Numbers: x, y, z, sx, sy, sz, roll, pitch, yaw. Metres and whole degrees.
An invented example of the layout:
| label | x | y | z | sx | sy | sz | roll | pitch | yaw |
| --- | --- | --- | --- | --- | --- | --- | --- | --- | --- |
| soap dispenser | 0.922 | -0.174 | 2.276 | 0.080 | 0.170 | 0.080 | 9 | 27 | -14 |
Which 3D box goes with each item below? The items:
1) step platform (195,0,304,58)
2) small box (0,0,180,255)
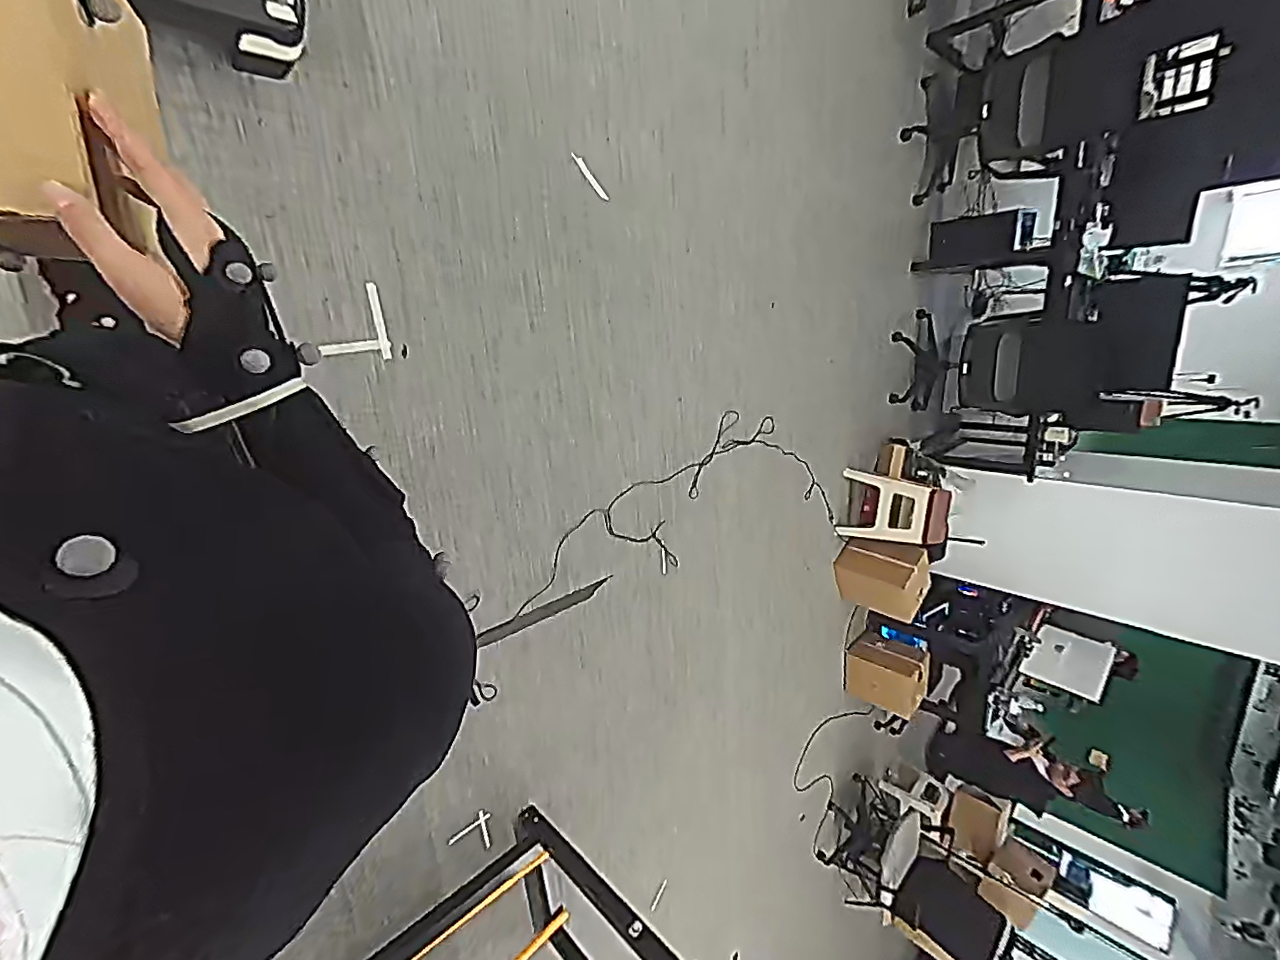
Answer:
| label | x | y | z | sx | sy | sz | roll | pitch | yaw |
| --- | --- | --- | --- | --- | --- | --- | --- | --- | --- |
| step platform | -0.885 | -0.892 | 0.777 | 0.684 | 0.204 | 0.286 | -18 | 110 | -40 |
| small box | -0.410 | -0.247 | 0.321 | 0.168 | 0.176 | 0.179 | -5 | 104 | -26 |
